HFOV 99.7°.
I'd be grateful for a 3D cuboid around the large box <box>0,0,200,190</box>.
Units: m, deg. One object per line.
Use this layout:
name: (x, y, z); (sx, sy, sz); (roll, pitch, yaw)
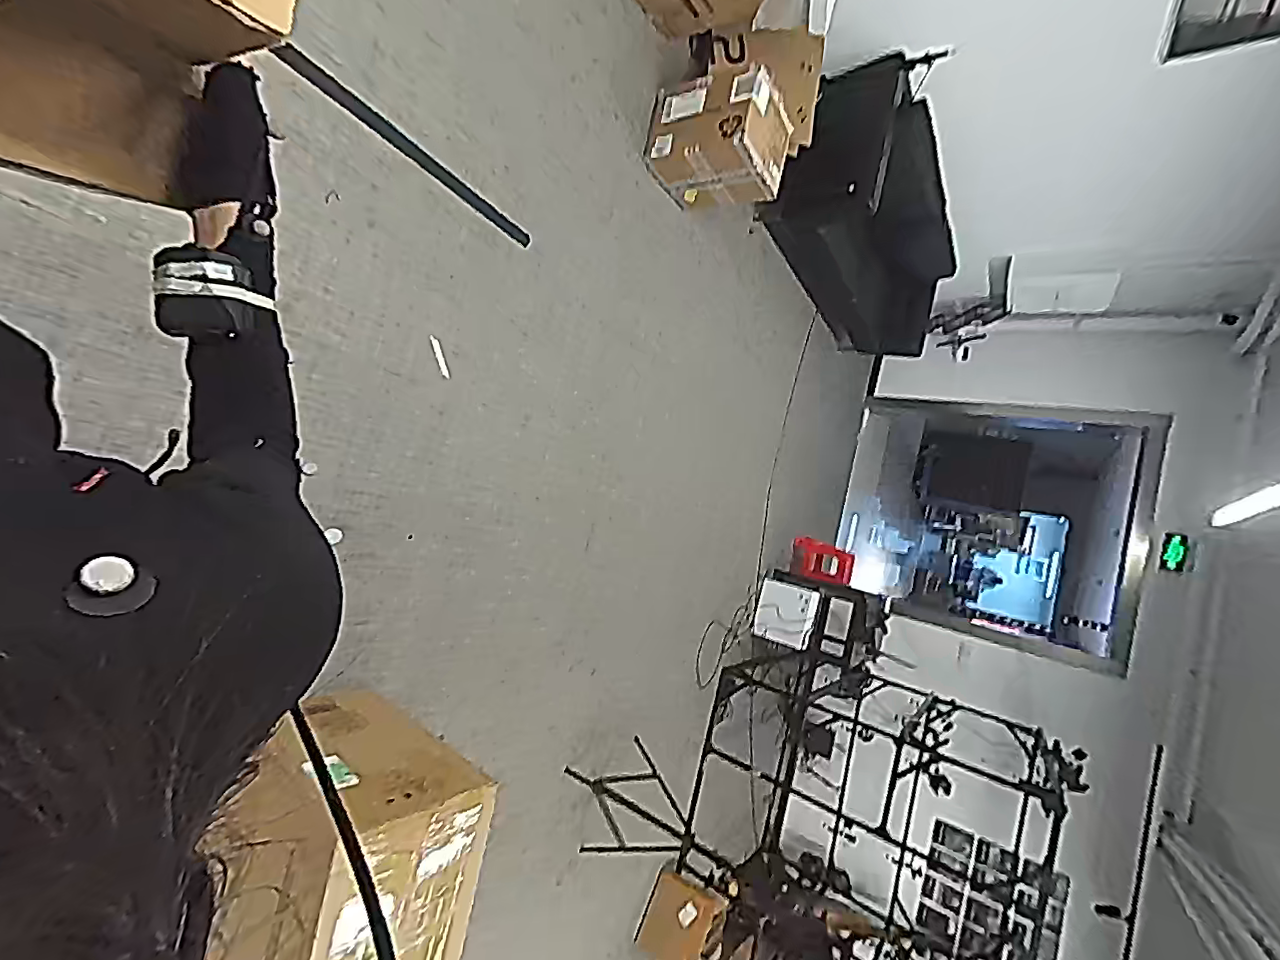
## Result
large box: (-0.579, -0.425, 0.342); (0.408, 0.320, 0.320); (-6, 115, -56)
